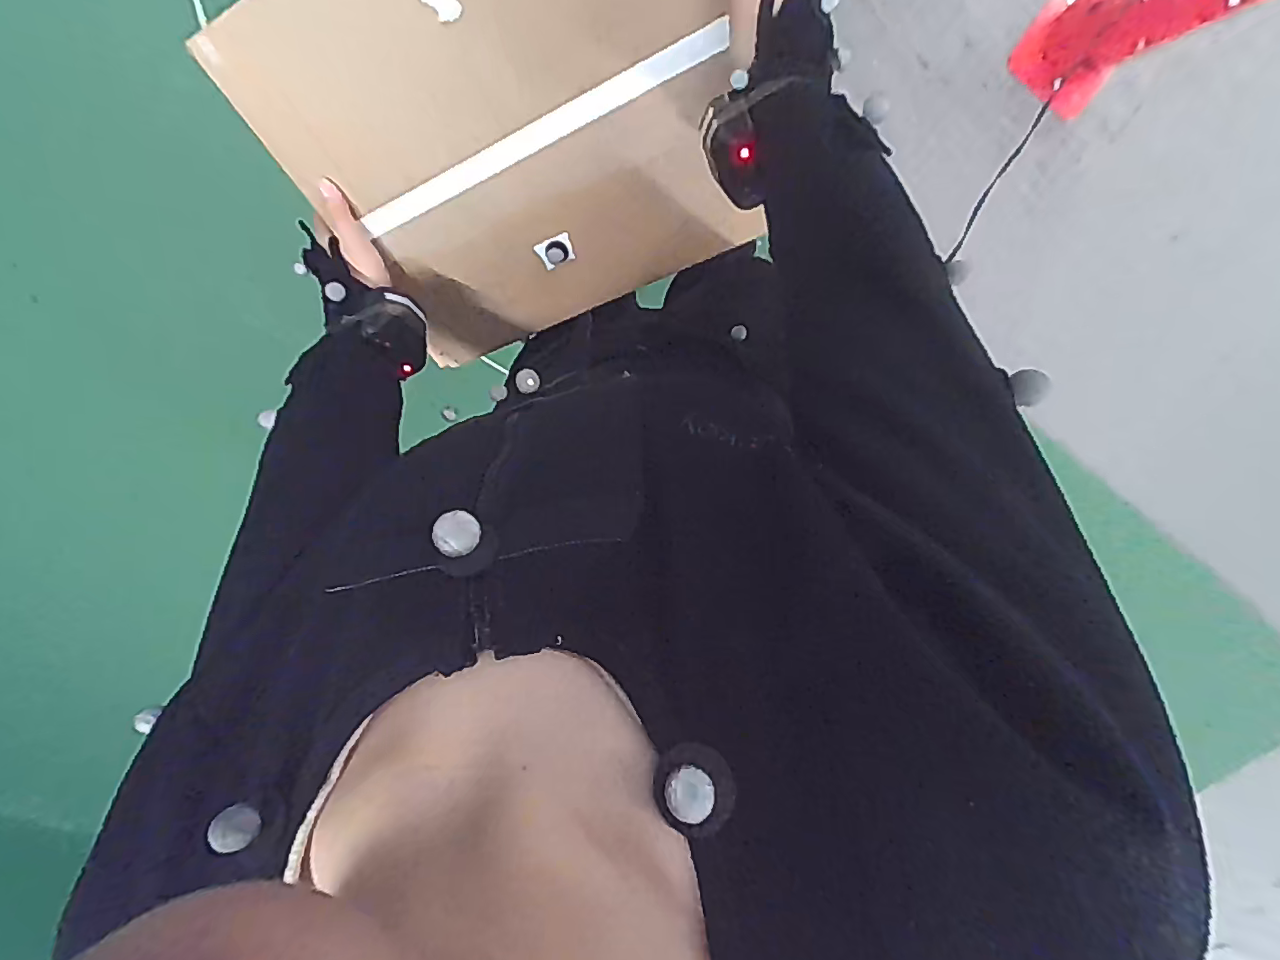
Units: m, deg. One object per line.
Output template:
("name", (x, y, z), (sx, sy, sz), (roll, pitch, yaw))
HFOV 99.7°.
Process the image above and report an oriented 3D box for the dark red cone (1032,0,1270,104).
("dark red cone", (0.852, -0.755, 0.849), (0.202, 0.394, 0.201), (23, 117, -14))
